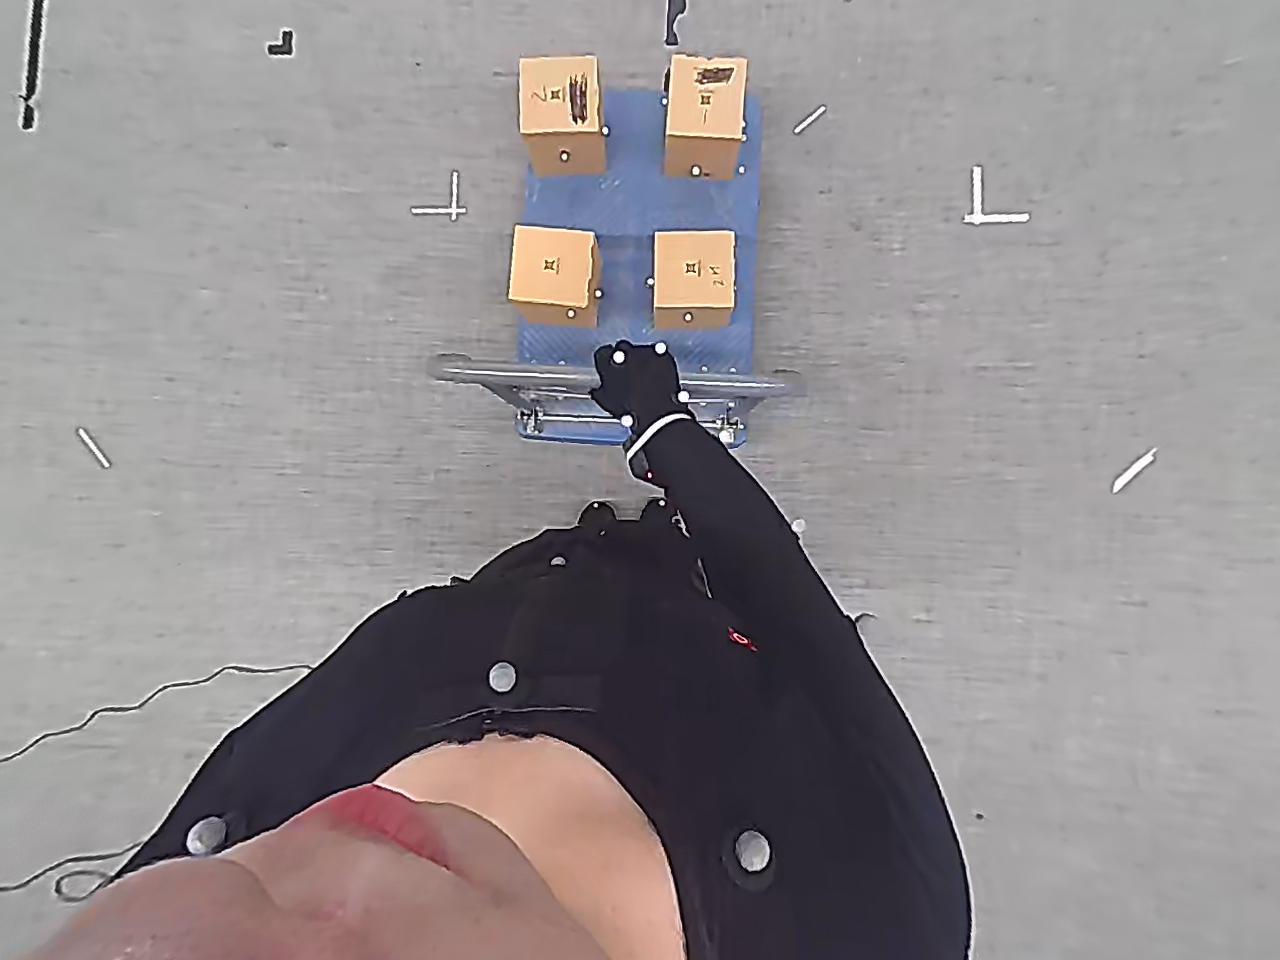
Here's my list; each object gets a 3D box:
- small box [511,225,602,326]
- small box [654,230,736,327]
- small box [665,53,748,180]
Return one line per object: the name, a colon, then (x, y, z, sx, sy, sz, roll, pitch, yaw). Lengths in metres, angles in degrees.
small box: (-0.187, -0.465, 1.251, 0.179, 0.176, 0.168, 5, 89, 0)
small box: (0.122, -0.455, 1.242, 0.179, 0.176, 0.168, 0, 90, 2)
small box: (0.147, -0.828, 1.244, 0.168, 0.176, 0.179, 4, 91, 1)
